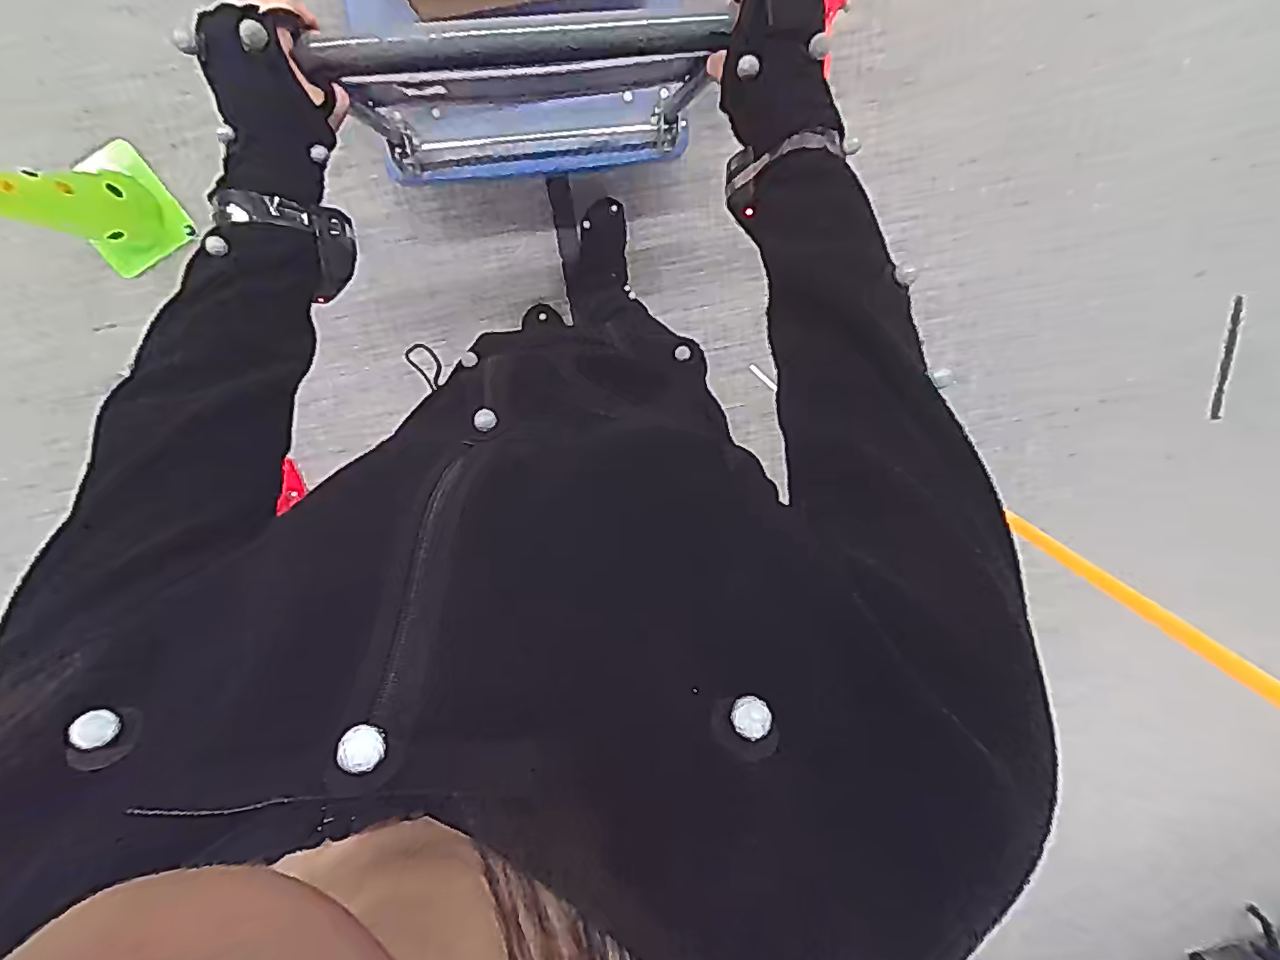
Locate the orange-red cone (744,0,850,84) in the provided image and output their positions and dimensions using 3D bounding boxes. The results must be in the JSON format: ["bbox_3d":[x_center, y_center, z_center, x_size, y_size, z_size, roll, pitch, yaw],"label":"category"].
[{"bbox_3d":[0.344,-0.892,0.982,0.199,0.360,0.198,-6,112,-7],"label":"orange-red cone"}]
